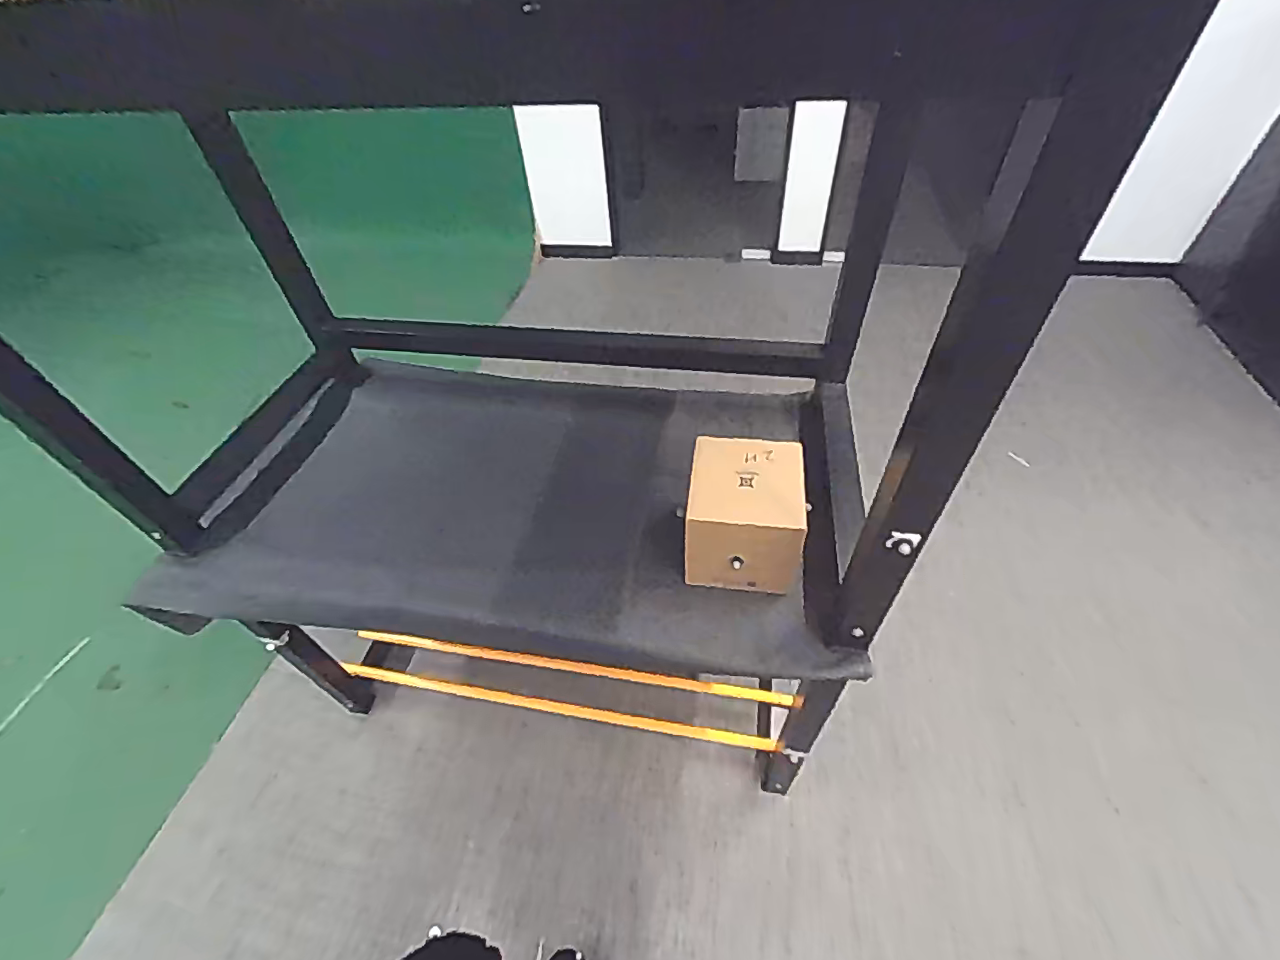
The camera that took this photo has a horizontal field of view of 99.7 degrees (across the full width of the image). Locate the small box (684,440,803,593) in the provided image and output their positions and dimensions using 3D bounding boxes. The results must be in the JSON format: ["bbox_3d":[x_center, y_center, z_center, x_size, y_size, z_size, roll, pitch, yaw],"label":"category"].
[{"bbox_3d":[0.161,0.060,0.858,0.168,0.176,0.179,5,46,9],"label":"small box"}]
